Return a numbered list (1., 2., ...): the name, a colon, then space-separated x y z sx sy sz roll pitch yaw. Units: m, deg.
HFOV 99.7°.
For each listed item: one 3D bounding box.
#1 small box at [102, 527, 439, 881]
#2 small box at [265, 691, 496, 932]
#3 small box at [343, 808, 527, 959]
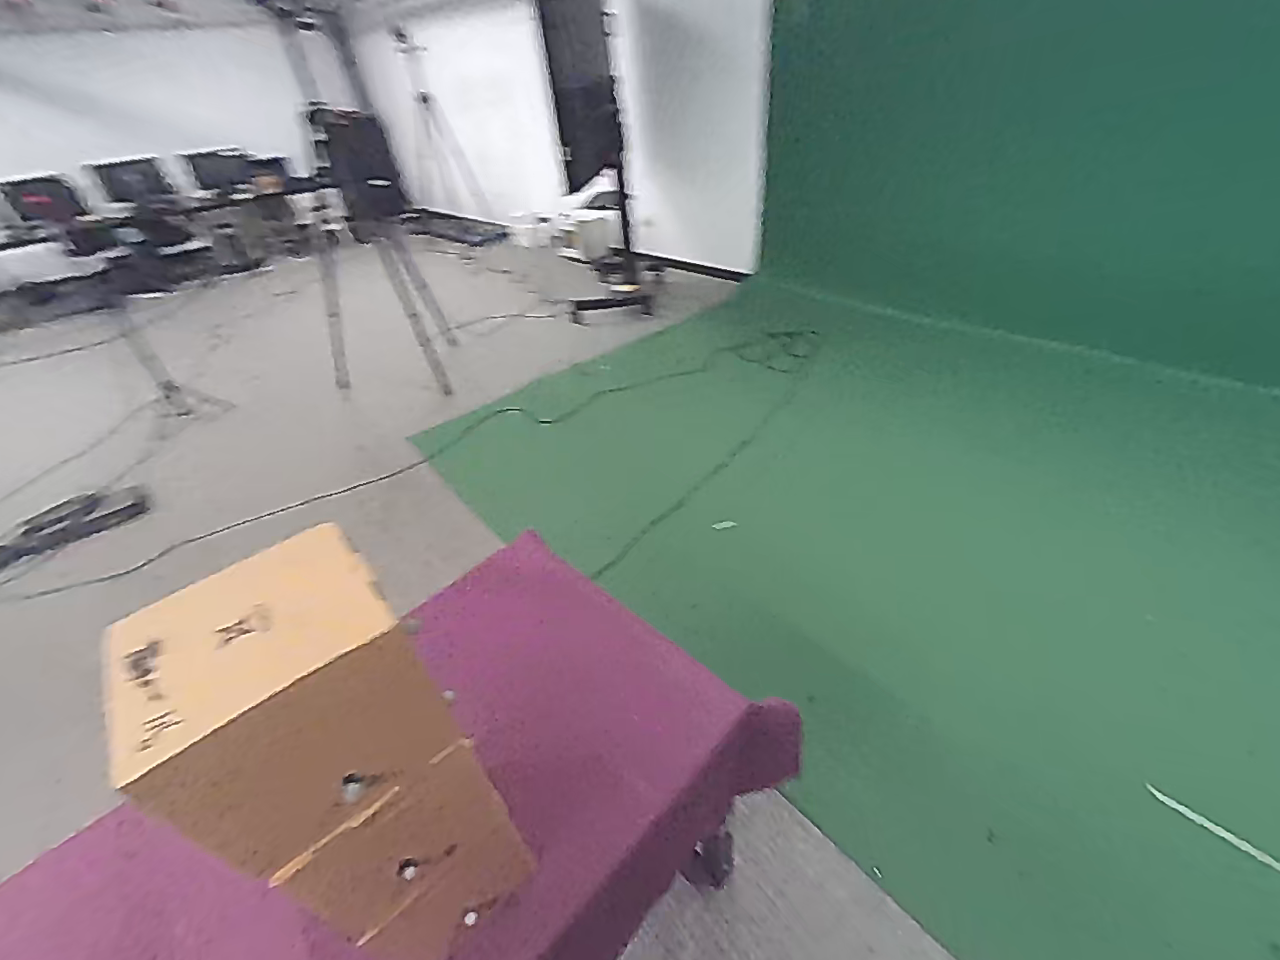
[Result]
1. small box: -0.289 0.177 0.453 0.179 0.176 0.168 -30 43 -29
2. small box: -0.275 0.305 0.556 0.168 0.176 0.179 -32 45 -30
3. small box: -0.262 0.435 0.653 0.168 0.176 0.179 -33 45 -29
